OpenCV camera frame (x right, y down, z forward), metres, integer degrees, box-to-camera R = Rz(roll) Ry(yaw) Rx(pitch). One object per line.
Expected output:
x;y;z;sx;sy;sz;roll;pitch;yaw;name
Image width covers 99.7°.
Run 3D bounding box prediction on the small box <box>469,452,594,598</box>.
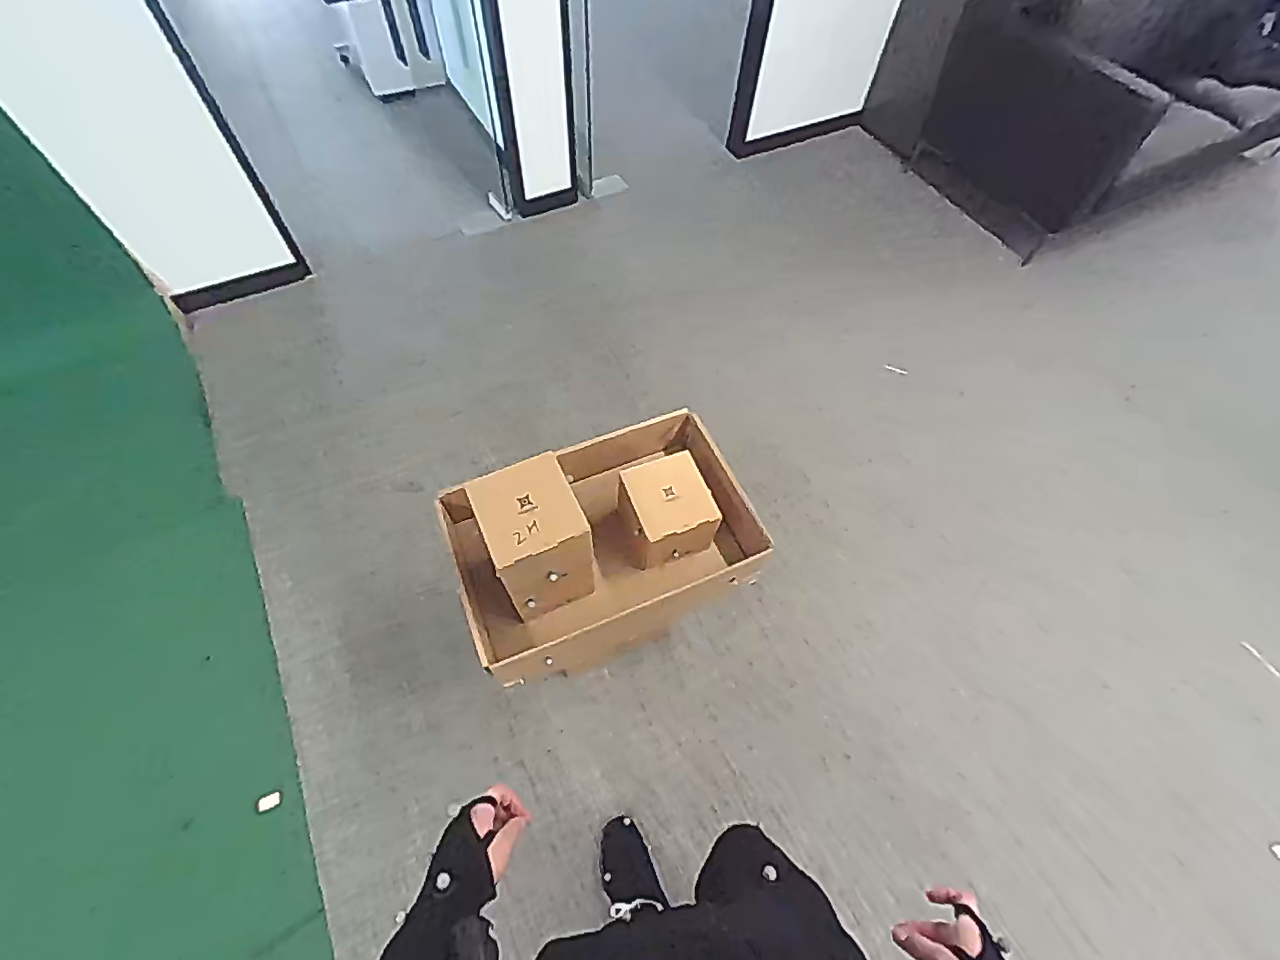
-0.191;0.085;0.978;0.168;0.176;0.179;-22;63;-15;small box
